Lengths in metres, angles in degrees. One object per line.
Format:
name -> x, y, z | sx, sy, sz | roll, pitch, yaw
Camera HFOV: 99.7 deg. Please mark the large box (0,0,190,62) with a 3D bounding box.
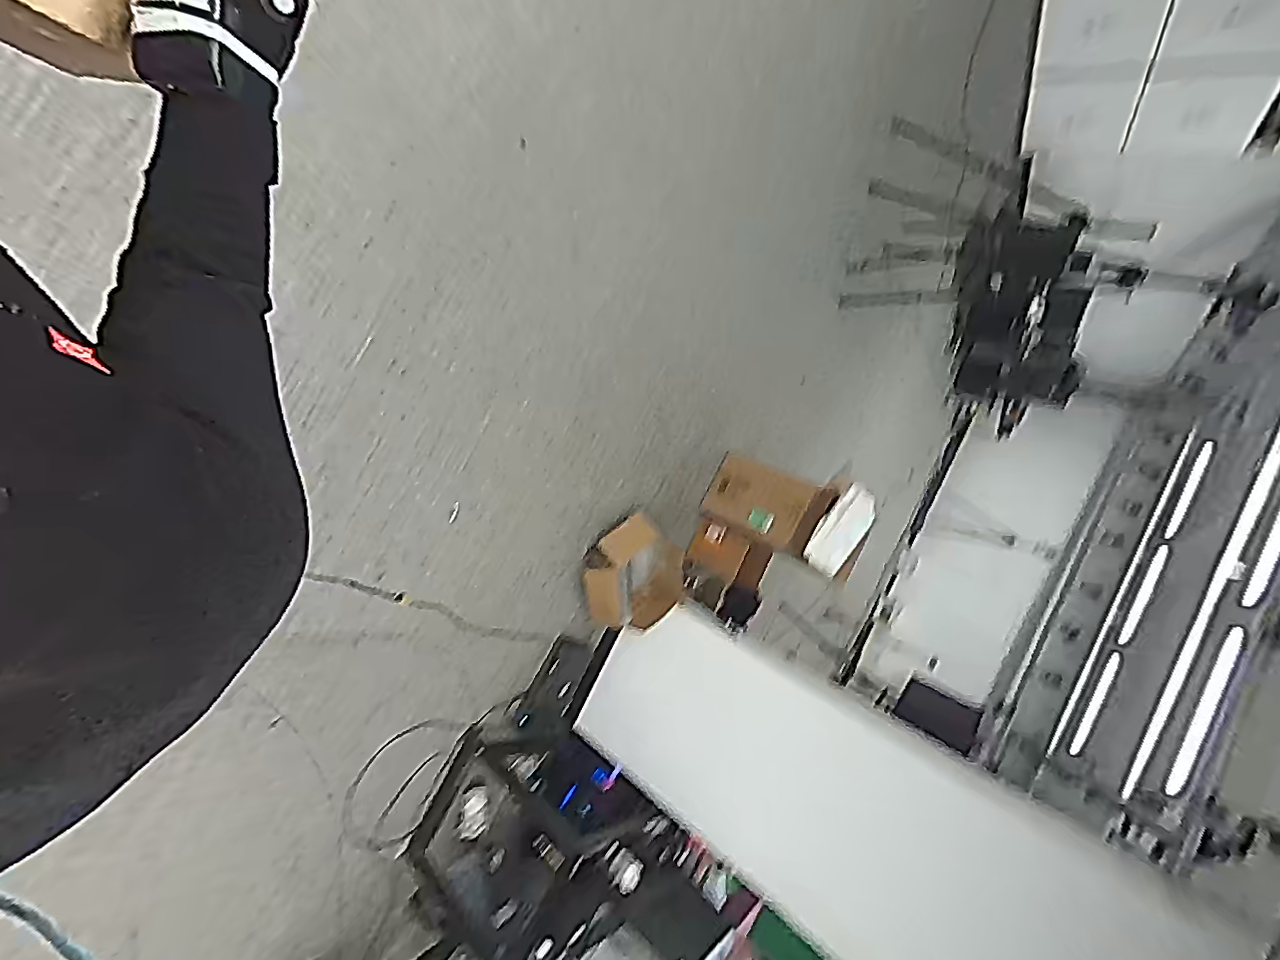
large box -> -0.512, -0.503, 0.272 | 0.408, 0.320, 0.320 | 1, 113, -59
